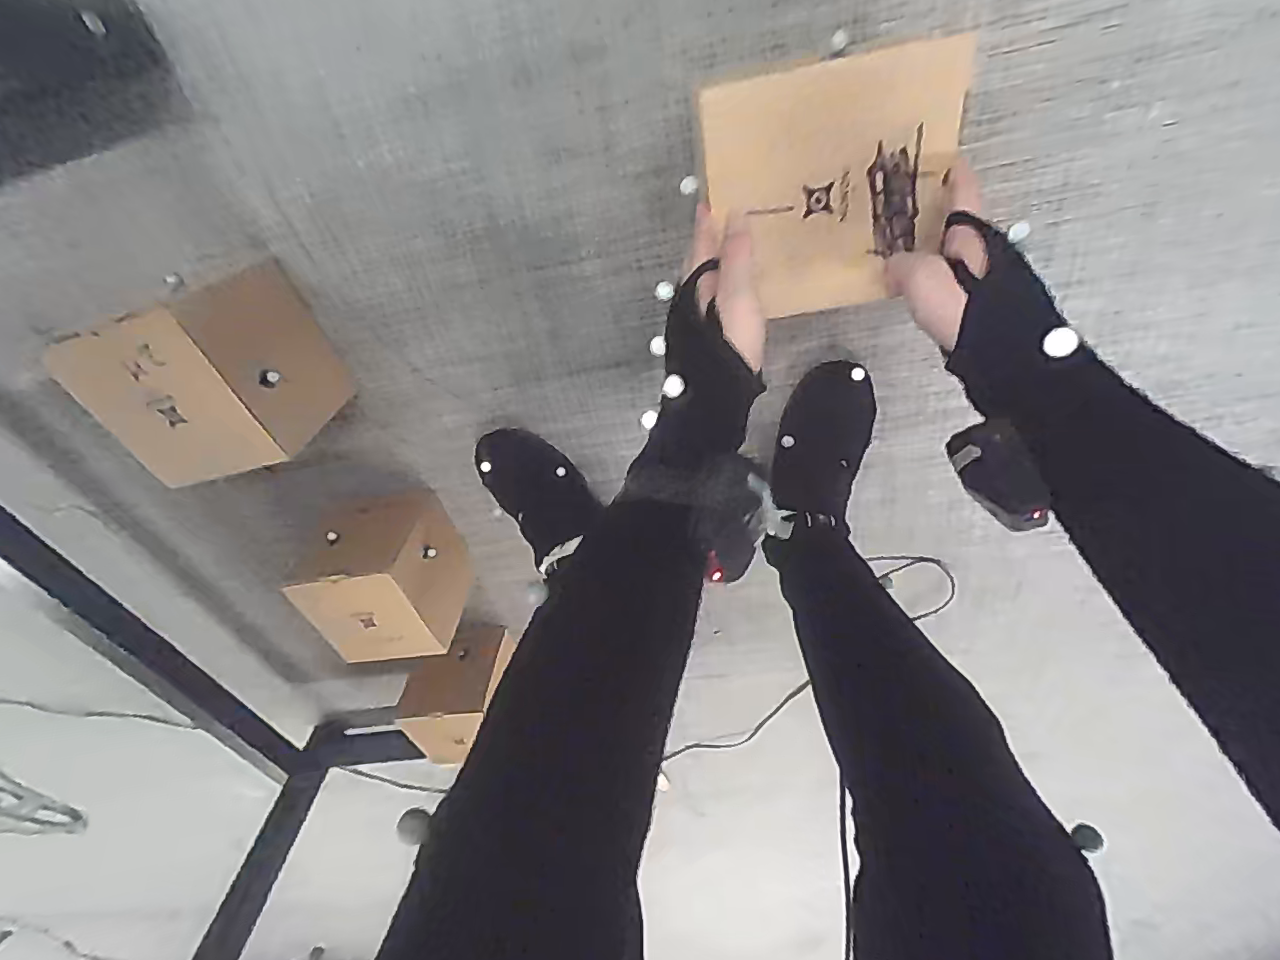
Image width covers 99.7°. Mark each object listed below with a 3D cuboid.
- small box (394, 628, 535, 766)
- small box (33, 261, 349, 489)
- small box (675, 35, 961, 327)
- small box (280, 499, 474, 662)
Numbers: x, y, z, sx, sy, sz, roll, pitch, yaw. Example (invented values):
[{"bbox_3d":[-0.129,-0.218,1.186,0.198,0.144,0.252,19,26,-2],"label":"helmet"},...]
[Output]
[{"bbox_3d":[-0.308,0.399,0.996,0.168,0.176,0.179,-10,125,10],"label":"small box"},{"bbox_3d":[-0.474,-0.119,0.610,0.168,0.176,0.179,-12,125,11],"label":"small box"},{"bbox_3d":[0.127,-0.250,0.451,0.179,0.176,0.168,-7,127,8],"label":"small box"},{"bbox_3d":[-0.373,0.143,0.805,0.168,0.176,0.179,-9,127,10],"label":"small box"}]
